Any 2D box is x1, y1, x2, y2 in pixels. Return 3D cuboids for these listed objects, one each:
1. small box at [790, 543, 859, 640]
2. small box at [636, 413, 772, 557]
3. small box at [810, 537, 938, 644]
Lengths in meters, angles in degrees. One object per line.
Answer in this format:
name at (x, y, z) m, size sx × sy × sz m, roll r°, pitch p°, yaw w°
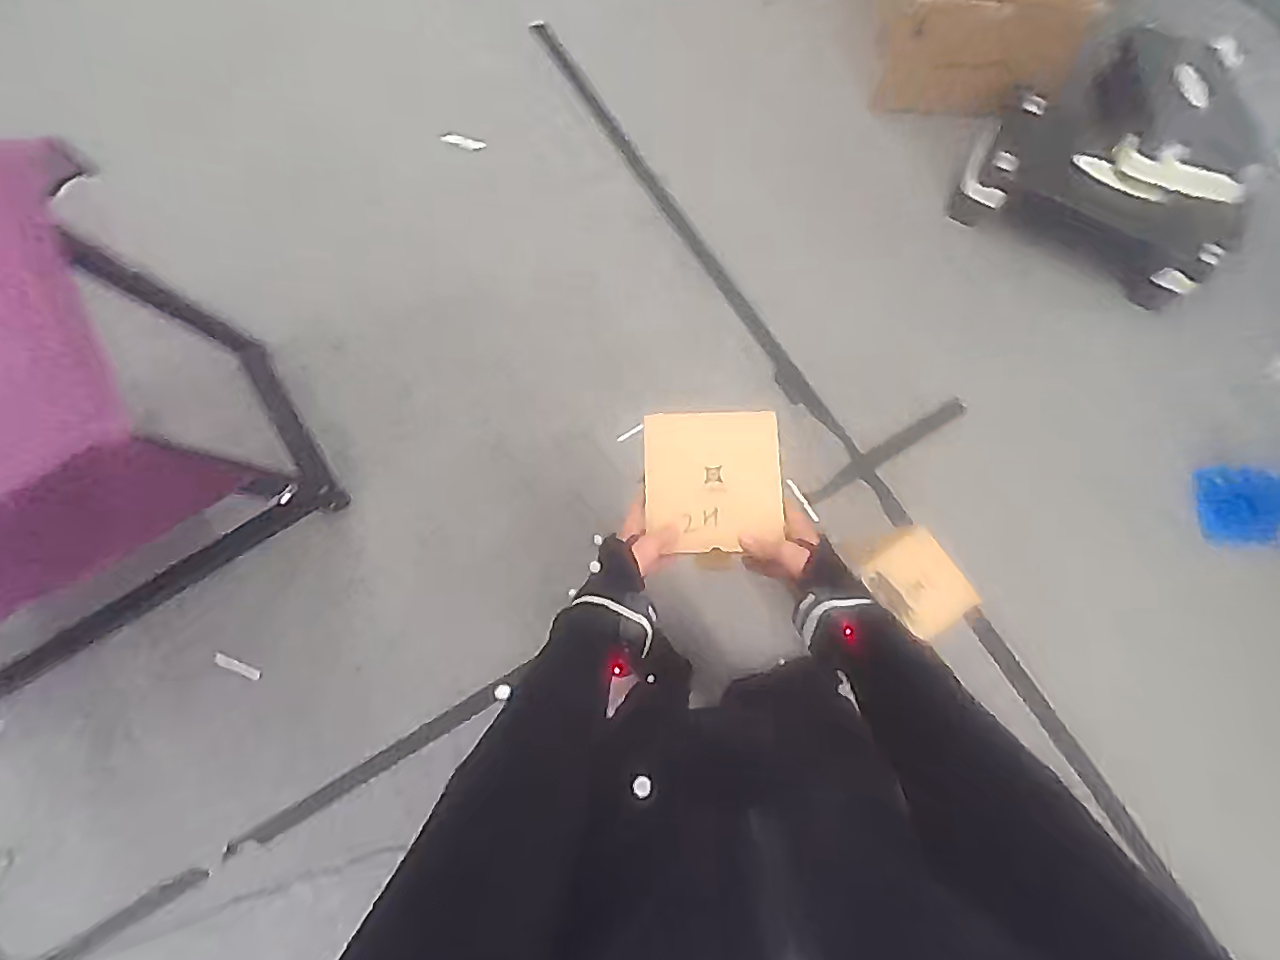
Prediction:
small box at (0.506, 0.274, 1.364) m, size 0.168 × 0.176 × 0.179 m, roll -33°, pitch 81°, yaw -3°
small box at (0.079, 0.012, 0.740) m, size 0.168 × 0.176 × 0.179 m, roll -2°, pitch 86°, yaw 2°
small box at (0.510, 0.239, 1.205) m, size 0.179 × 0.176 × 0.168 m, roll -28°, pitch 82°, yaw -2°
